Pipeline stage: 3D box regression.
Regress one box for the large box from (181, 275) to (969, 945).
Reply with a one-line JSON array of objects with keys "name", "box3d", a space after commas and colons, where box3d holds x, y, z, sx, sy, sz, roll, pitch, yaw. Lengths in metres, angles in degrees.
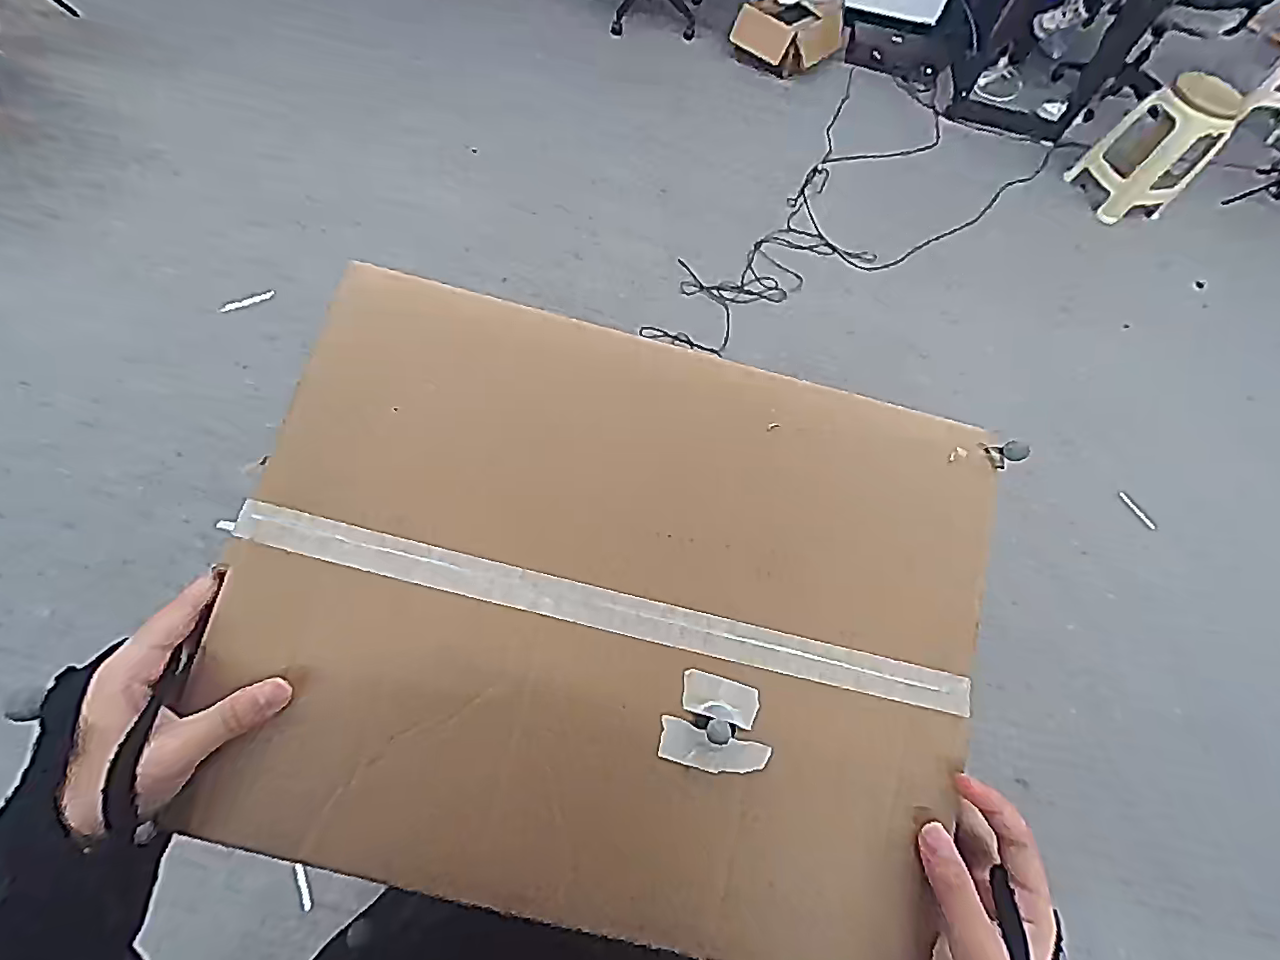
[{"name": "large box", "box3d": [-0.026, 0.087, 0.459, 0.408, 0.320, 0.320, 14, 81, -2]}]
